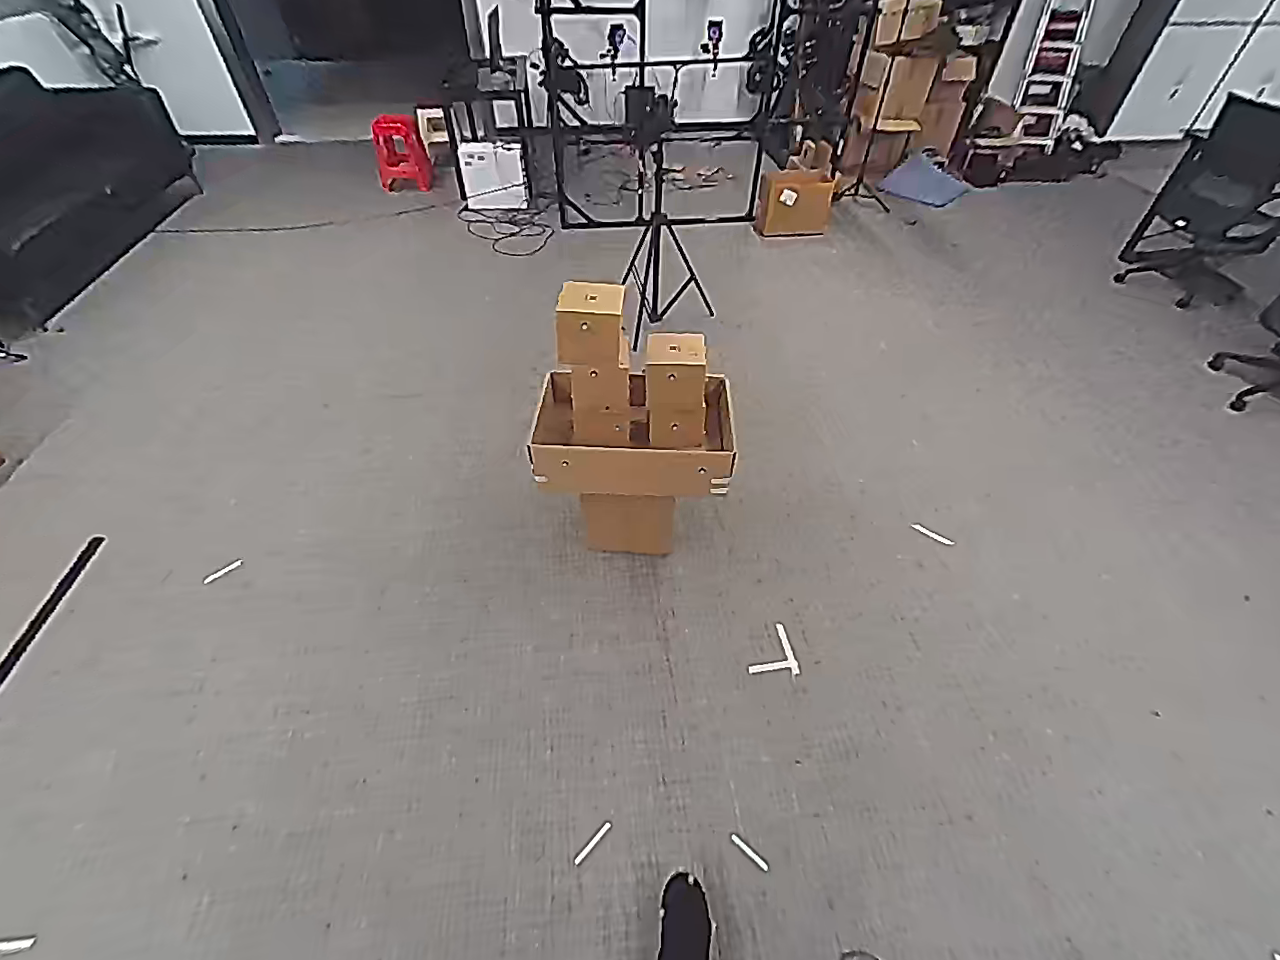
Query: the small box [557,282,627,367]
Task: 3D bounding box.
[{"bbox_3d":[-0.131,-0.434,1.522,0.179,0.176,0.168,3,46,0],"label":"small box"}]
